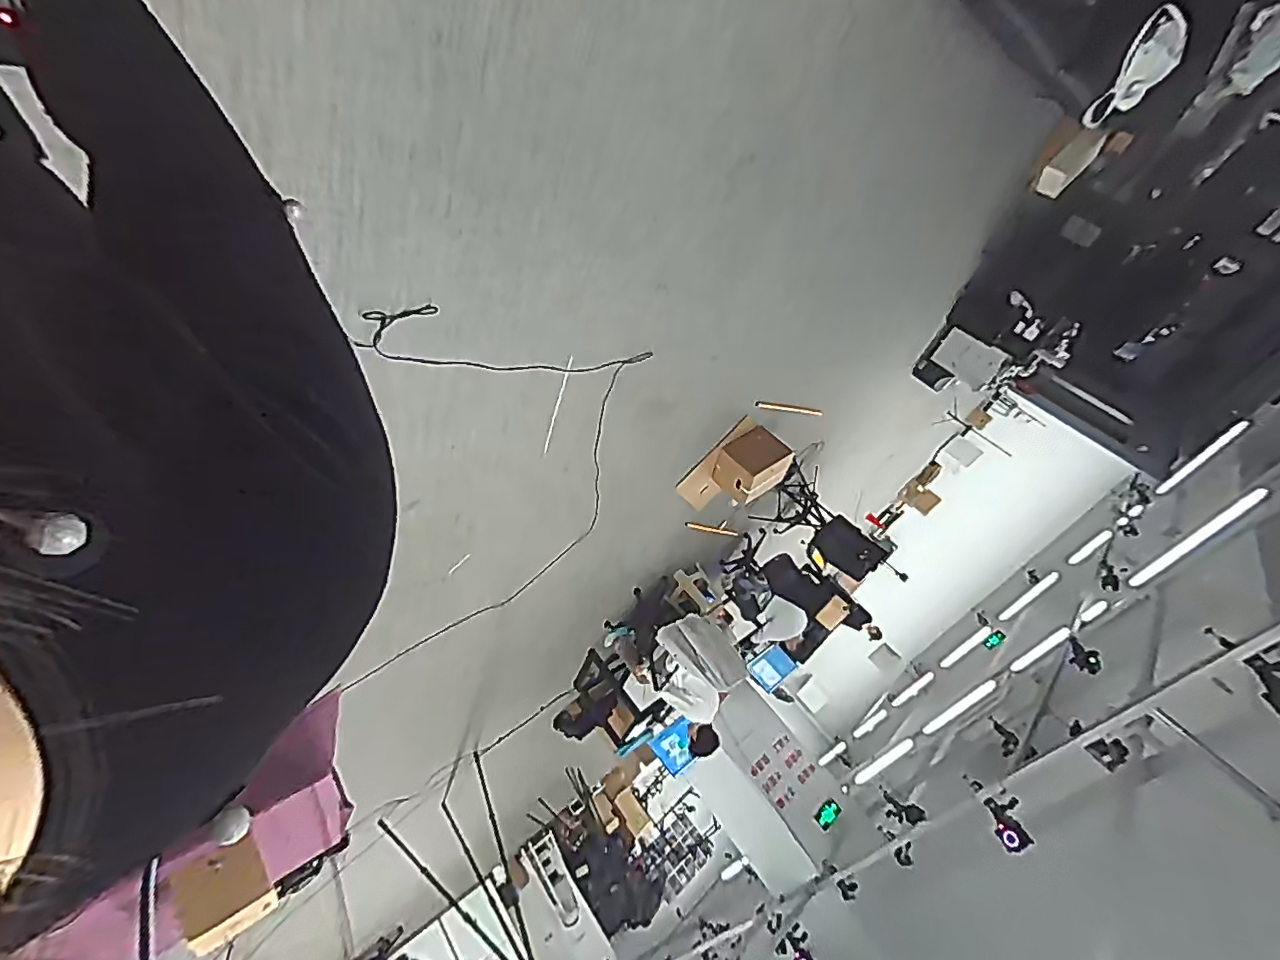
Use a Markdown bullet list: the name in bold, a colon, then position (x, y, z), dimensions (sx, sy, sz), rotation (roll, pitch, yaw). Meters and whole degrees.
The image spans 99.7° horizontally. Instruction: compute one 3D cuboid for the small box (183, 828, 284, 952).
- **small box**: position (-1.050, 1.053, 1.397), dimensions (0.179, 0.176, 0.168), rotation (-17, 143, -40)
